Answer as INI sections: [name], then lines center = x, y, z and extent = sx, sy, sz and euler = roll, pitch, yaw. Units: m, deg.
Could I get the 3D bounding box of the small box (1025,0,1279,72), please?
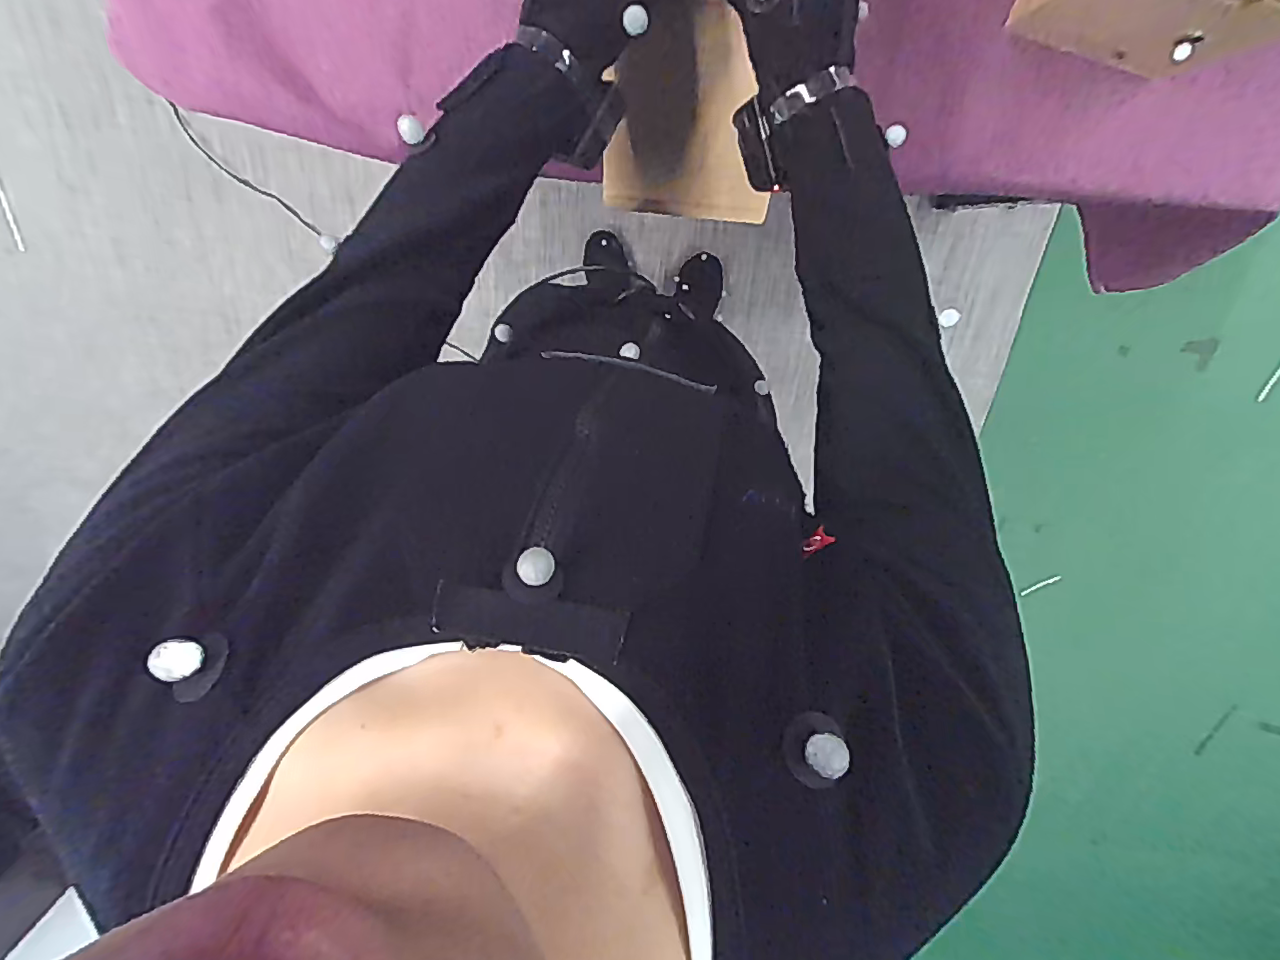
[small box]
center = 0.448, -0.455, 0.418
extent = 0.168, 0.176, 0.179
euler = 15, 114, -4
